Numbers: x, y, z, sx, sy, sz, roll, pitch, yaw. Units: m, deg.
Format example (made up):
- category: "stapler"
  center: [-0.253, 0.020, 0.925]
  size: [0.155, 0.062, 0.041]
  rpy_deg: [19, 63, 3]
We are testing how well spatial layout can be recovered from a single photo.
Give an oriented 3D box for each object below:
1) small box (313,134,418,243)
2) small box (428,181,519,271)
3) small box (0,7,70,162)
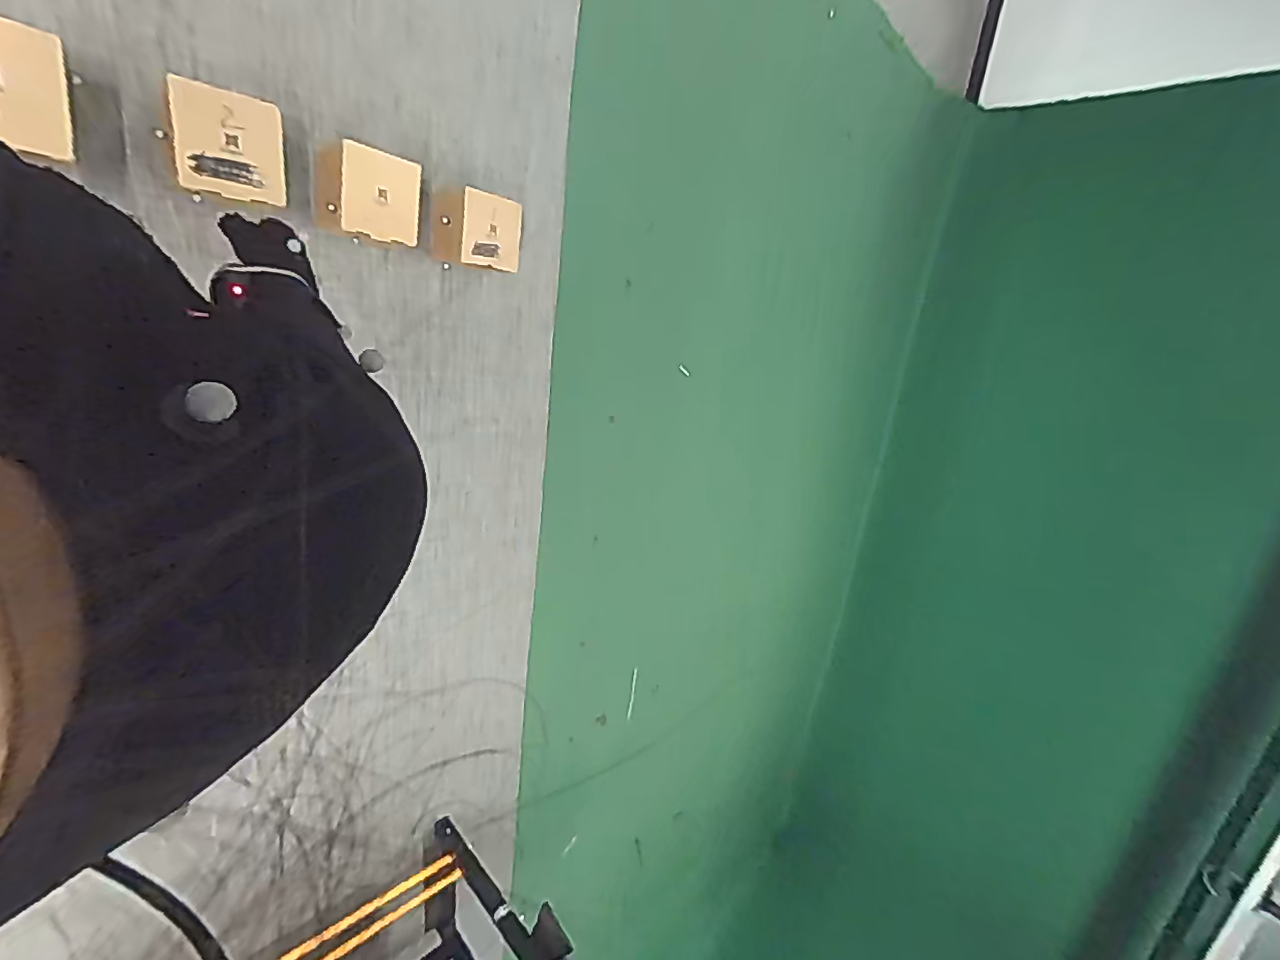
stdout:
- category: "small box"
  center: [-0.623, -0.649, 1.222]
  size: [0.168, 0.176, 0.179]
  rpy_deg: [-7, 112, -47]
- category: "small box"
  center: [-0.441, -0.660, 1.419]
  size: [0.168, 0.176, 0.179]
  rpy_deg: [-7, 112, -46]
- category: "small box"
  center: [-0.998, -0.610, 0.822]
  size: [0.168, 0.176, 0.179]
  rpy_deg: [-6, 112, -45]
